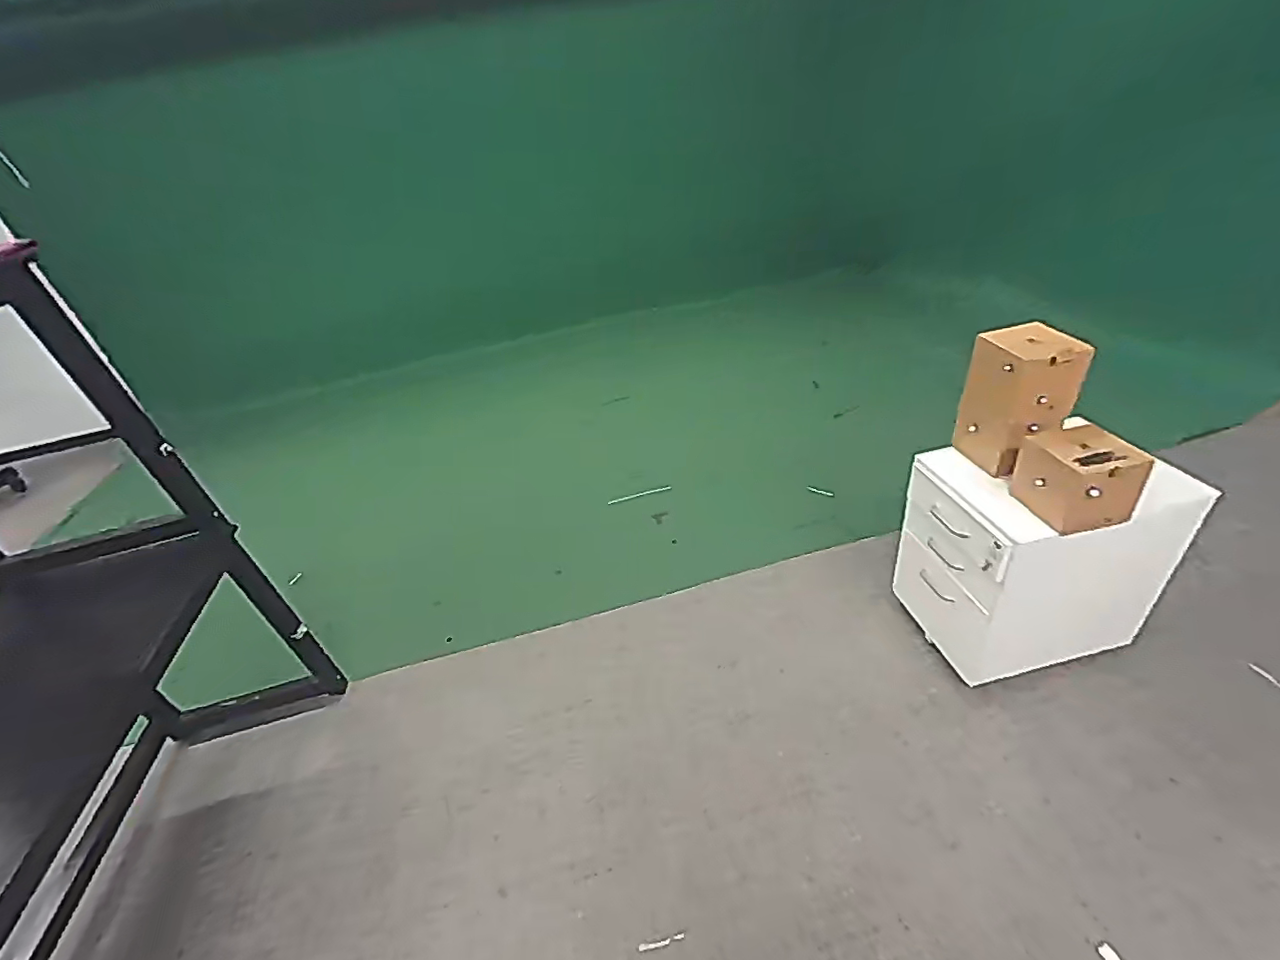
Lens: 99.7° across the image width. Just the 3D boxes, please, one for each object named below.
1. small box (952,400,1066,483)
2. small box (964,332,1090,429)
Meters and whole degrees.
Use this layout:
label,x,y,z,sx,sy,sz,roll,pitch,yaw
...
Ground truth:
label,x,y,z,sx,sy,sz,roll,pitch,yaw
small box,0.972,-0.116,1.445,0.168,0.176,0.179,-13,35,-5
small box,0.952,-0.249,1.352,0.168,0.176,0.179,-12,37,-3
